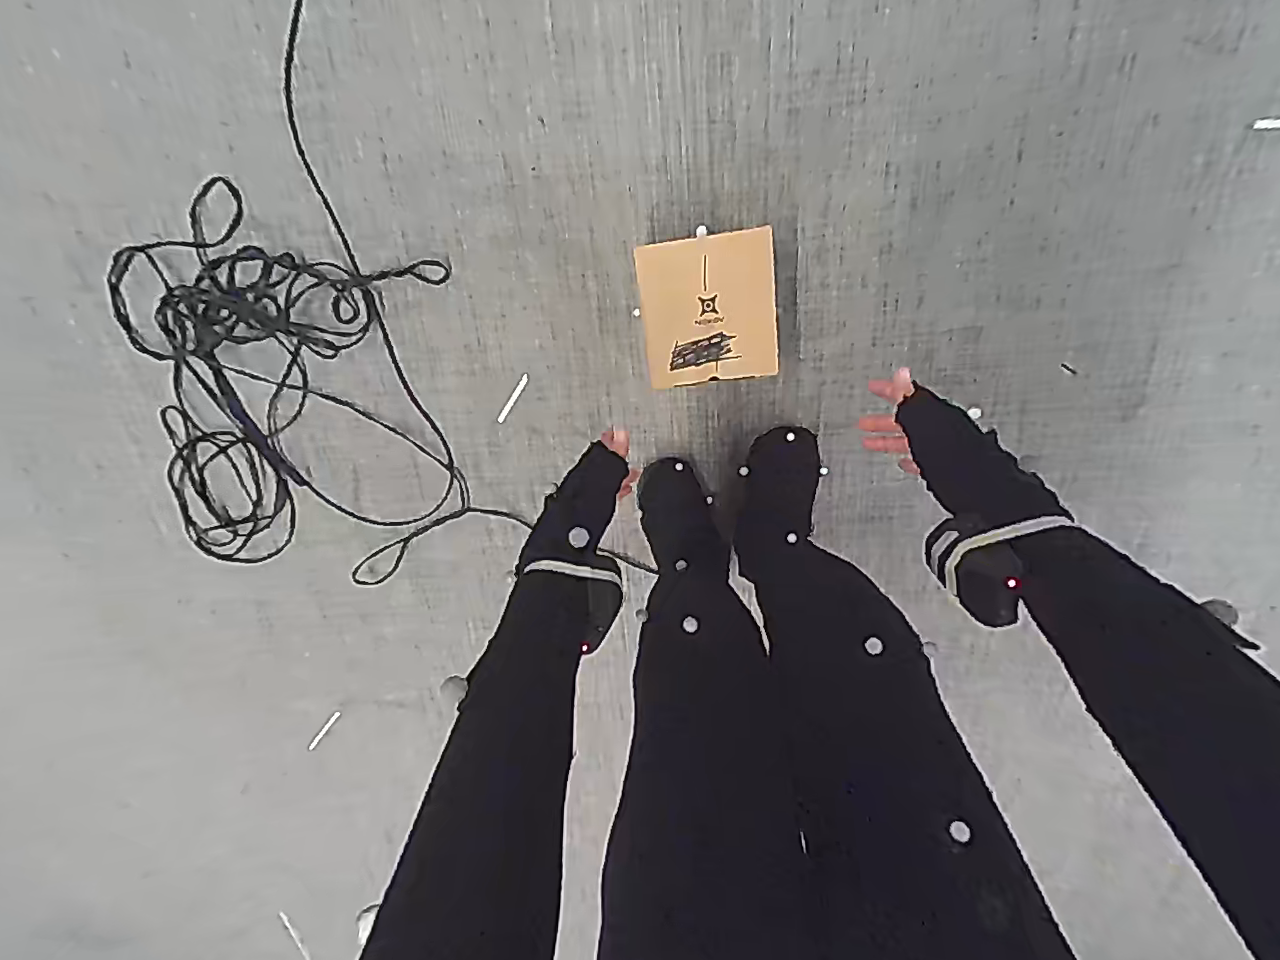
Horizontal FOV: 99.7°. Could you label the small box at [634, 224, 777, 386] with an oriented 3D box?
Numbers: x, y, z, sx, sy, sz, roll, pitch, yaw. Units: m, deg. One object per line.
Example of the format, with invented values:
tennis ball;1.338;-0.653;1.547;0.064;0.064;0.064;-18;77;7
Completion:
small box;0.088;-0.237;0.730;0.168;0.176;0.179;-5;111;6
